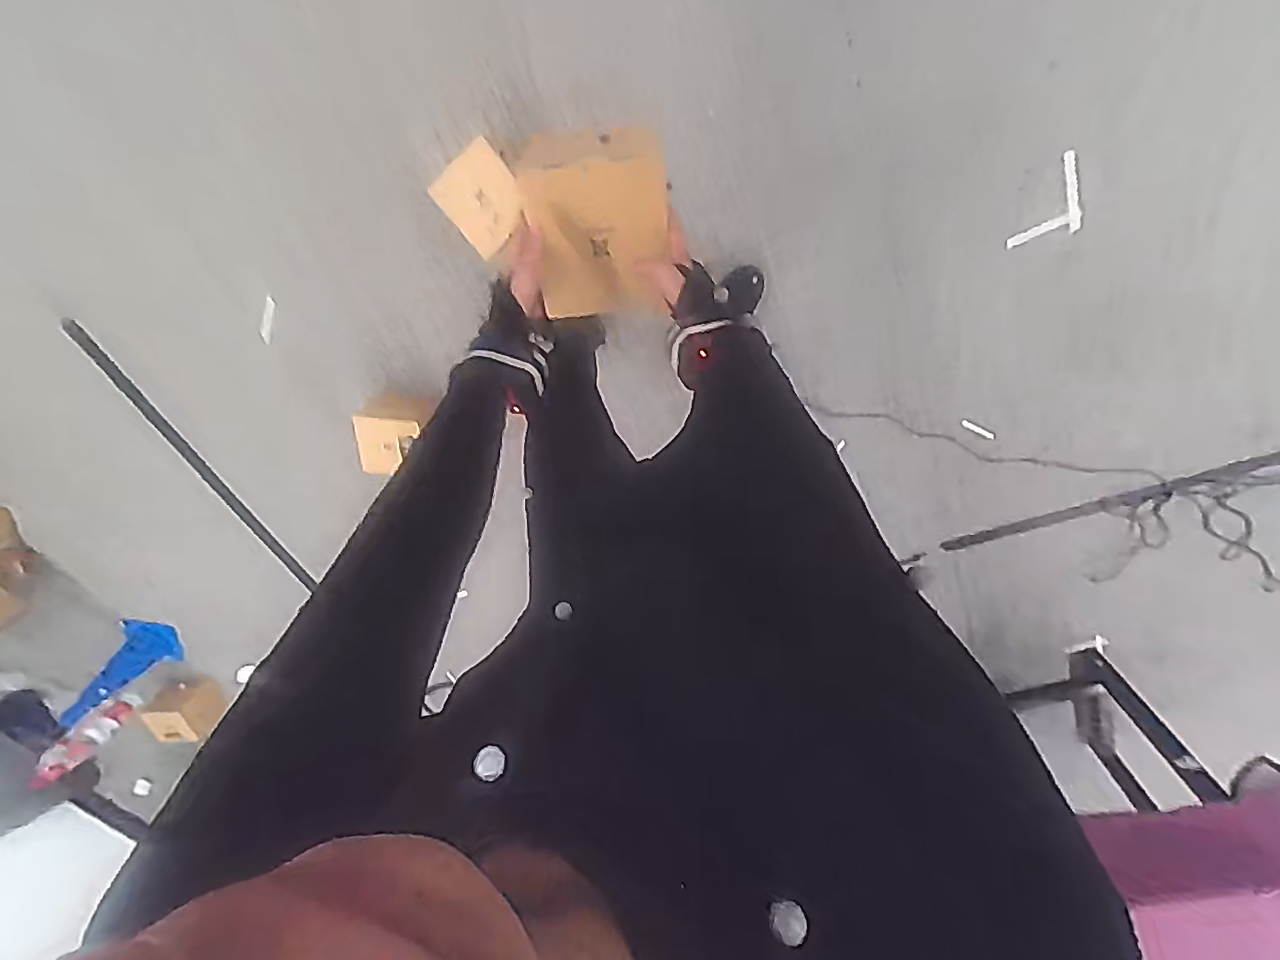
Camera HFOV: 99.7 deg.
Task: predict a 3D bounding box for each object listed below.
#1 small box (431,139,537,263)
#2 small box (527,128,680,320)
[{"bbox_3d":[-0.319,-0.614,1.199,0.168,0.176,0.179,-34,113,20],"label":"small box"},{"bbox_3d":[-0.036,-0.330,0.697,0.168,0.176,0.179,-5,131,3],"label":"small box"}]
